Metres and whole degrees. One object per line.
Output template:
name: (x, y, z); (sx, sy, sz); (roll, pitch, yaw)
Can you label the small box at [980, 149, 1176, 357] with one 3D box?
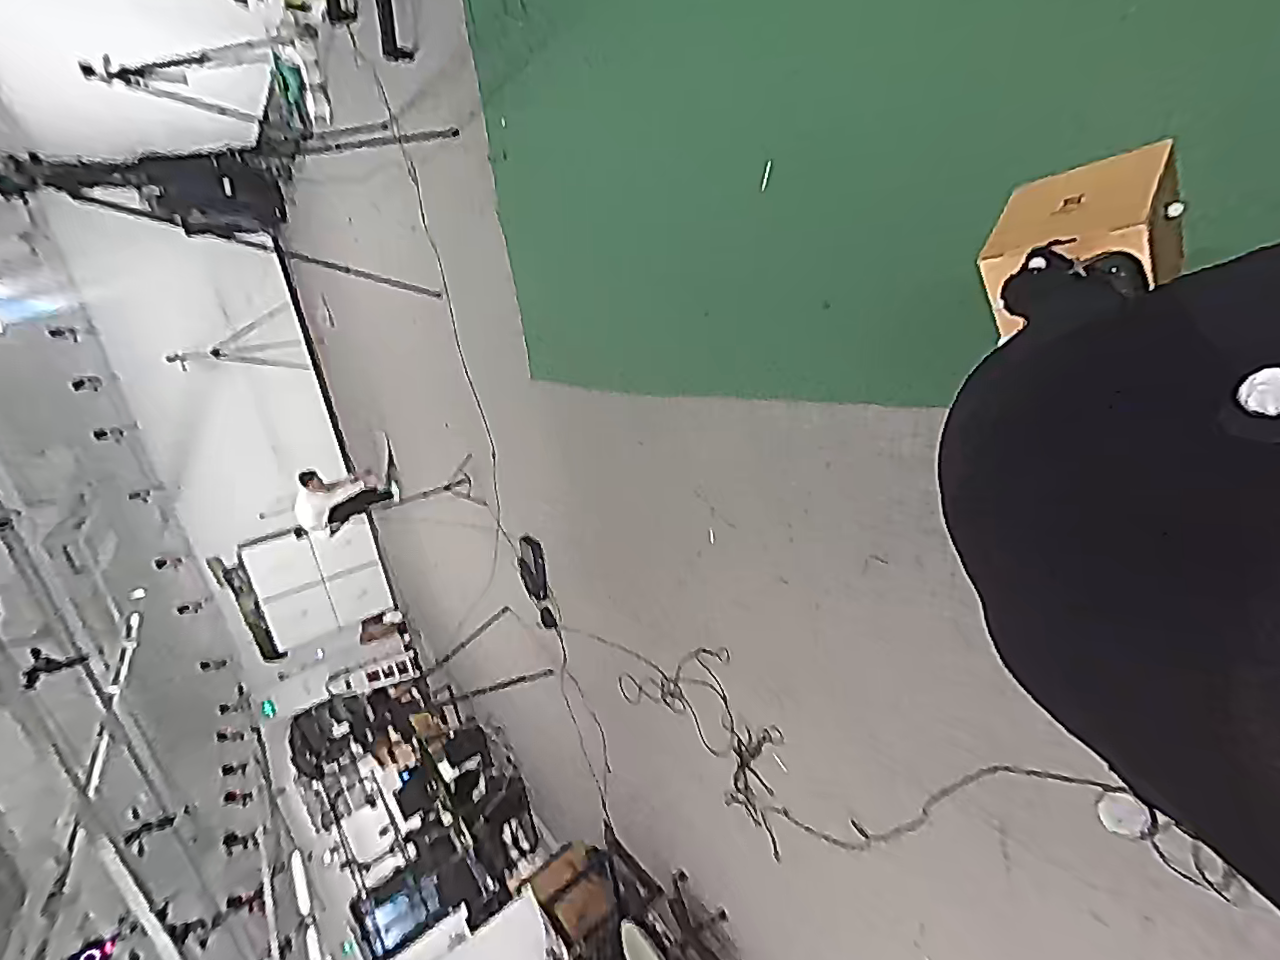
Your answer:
small box: (0.594, -0.292, 0.729); (0.168, 0.179, 0.176); (5, 143, 52)
